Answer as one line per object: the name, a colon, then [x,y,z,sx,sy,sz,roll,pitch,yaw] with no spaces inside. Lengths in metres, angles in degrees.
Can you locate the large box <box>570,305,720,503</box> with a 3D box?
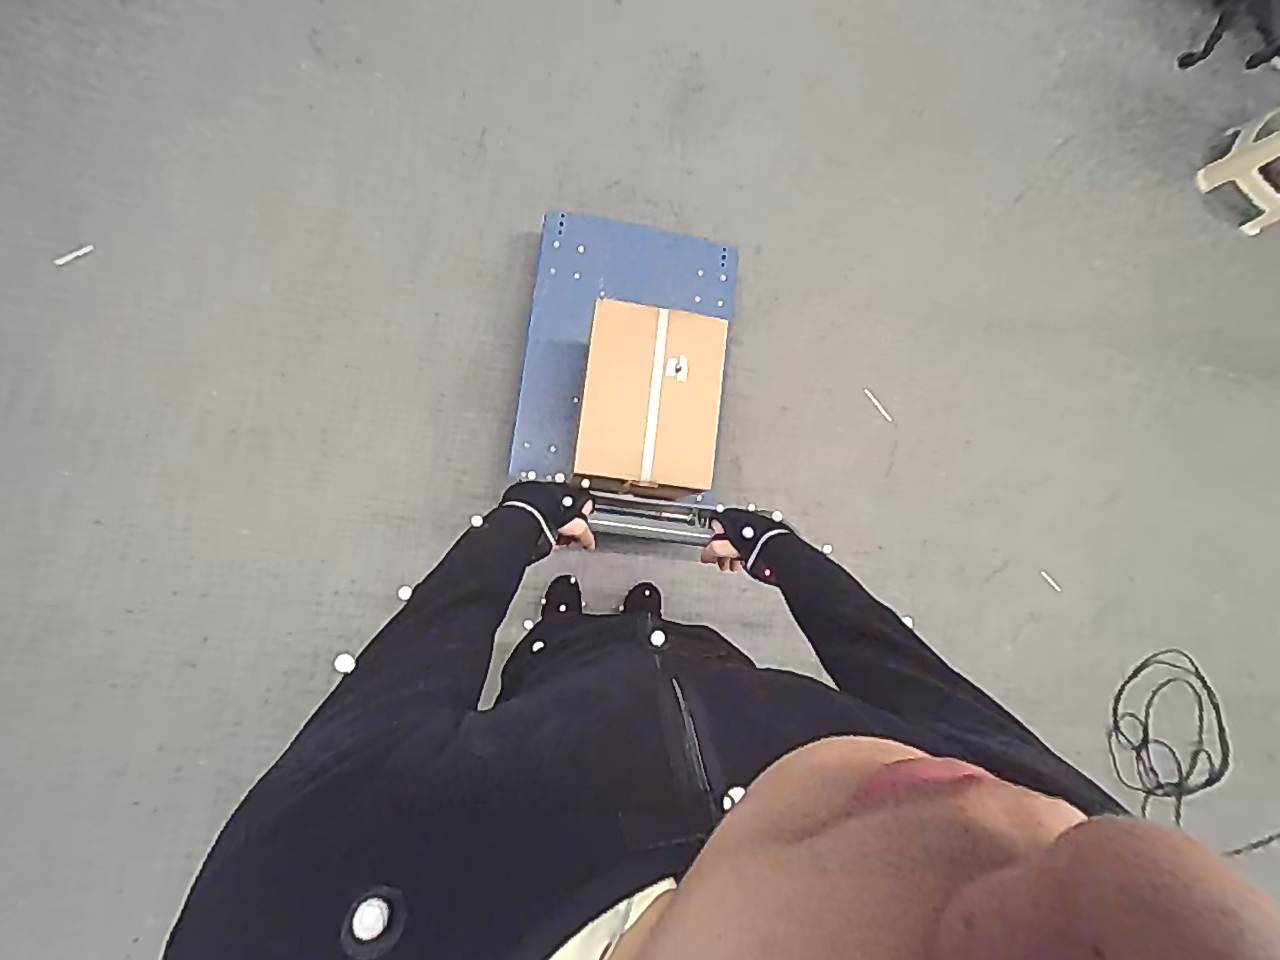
large box: [-0.003,-0.164,1.360,0.320,0.320,0.408,7,82,-10]
